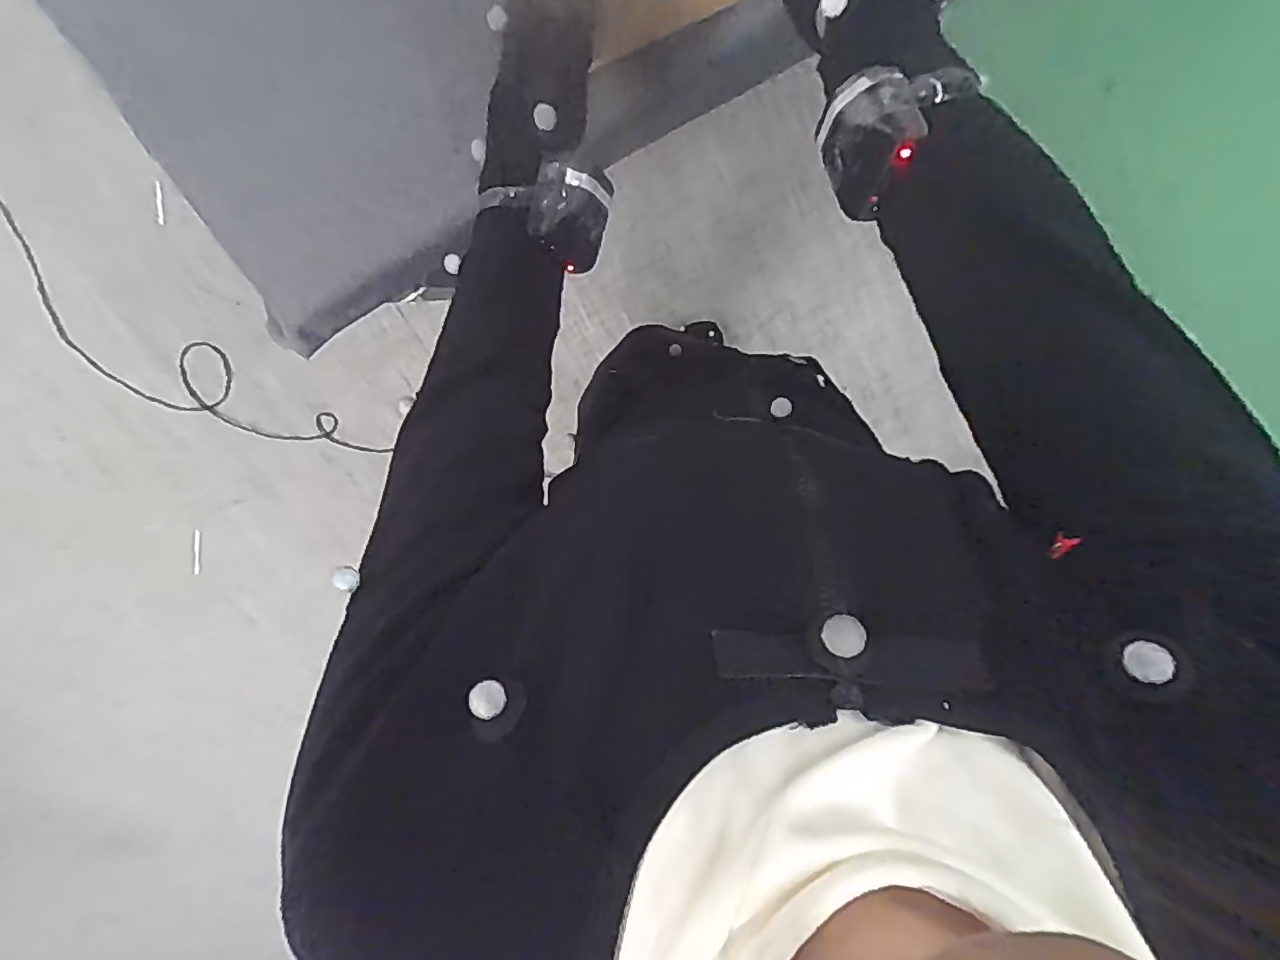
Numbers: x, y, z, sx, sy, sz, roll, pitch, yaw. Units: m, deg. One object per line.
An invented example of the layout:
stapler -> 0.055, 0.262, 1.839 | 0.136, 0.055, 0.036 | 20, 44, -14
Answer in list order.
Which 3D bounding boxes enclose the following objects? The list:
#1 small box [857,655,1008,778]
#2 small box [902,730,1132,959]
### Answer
small box -> 0.491, 0.427, 0.888 | 0.168, 0.176, 0.179 | -29, 105, 9
small box -> 0.496, 0.484, 0.734 | 0.168, 0.176, 0.179 | -32, 107, 10
